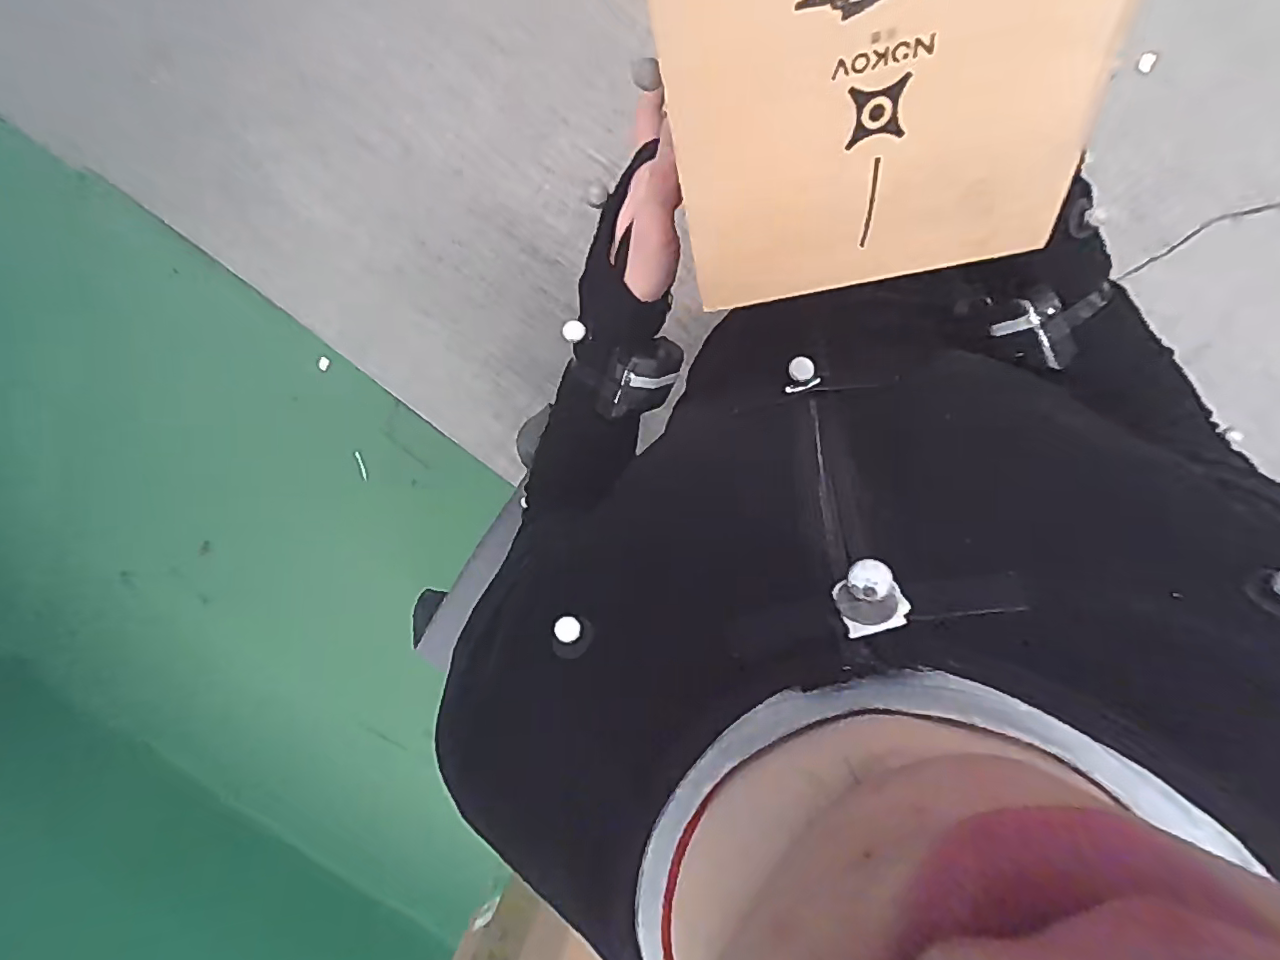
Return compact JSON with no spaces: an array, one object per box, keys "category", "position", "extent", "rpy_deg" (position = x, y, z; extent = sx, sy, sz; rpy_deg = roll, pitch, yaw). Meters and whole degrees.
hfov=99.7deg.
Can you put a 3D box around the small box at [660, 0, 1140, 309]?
[{"category":"small box","position":[0.096,-0.217,0.257],"extent":[0.168,0.176,0.179],"rpy_deg":[-8,143,11]}]
